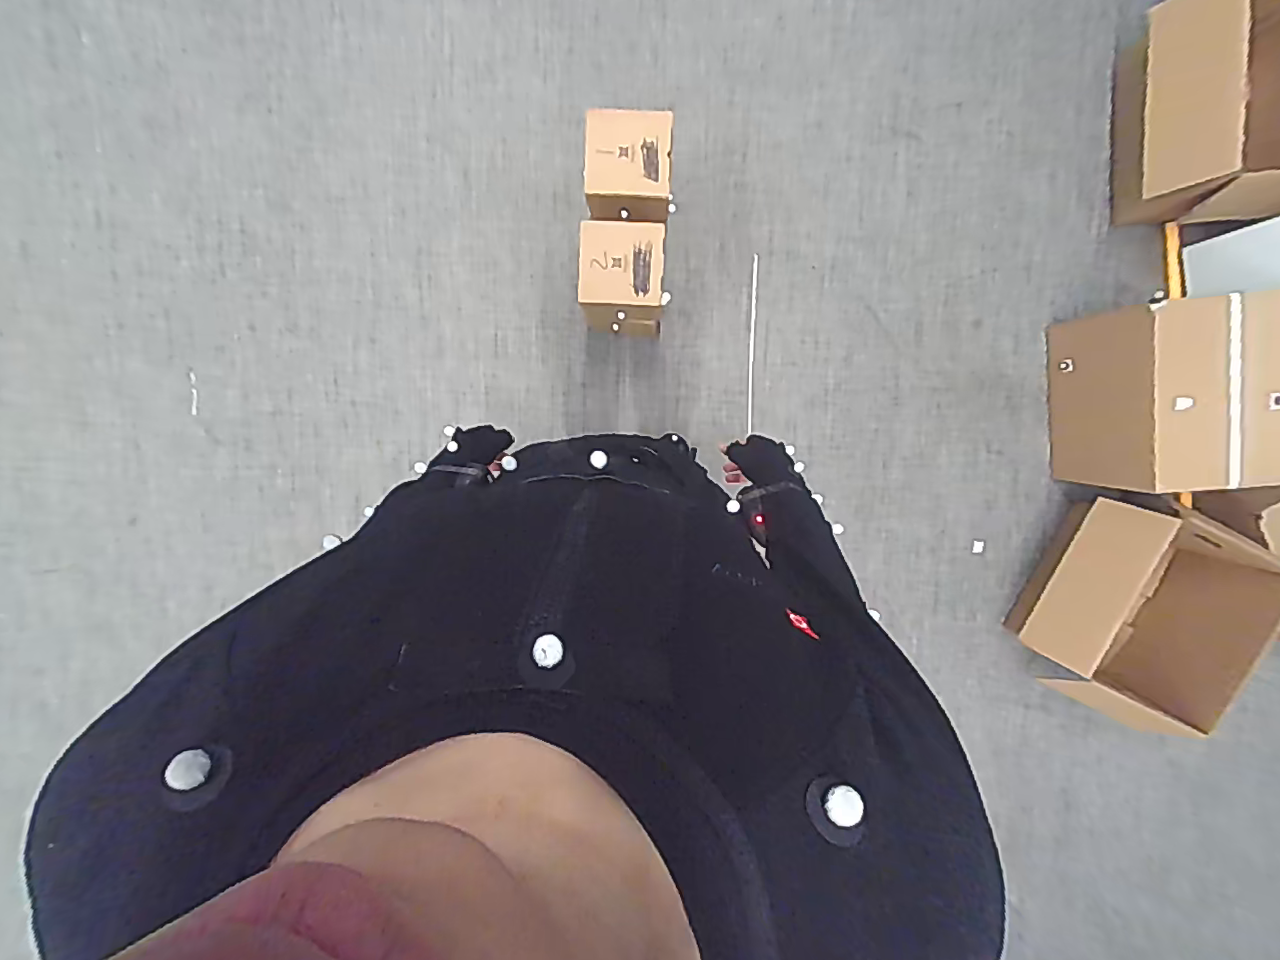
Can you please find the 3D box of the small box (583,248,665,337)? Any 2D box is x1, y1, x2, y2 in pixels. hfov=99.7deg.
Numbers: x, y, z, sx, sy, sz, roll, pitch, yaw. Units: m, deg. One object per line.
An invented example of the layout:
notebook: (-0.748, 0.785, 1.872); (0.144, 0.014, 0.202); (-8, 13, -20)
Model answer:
small box: (-0.036, -0.460, 1.348); (0.179, 0.176, 0.168); (7, 96, 1)
